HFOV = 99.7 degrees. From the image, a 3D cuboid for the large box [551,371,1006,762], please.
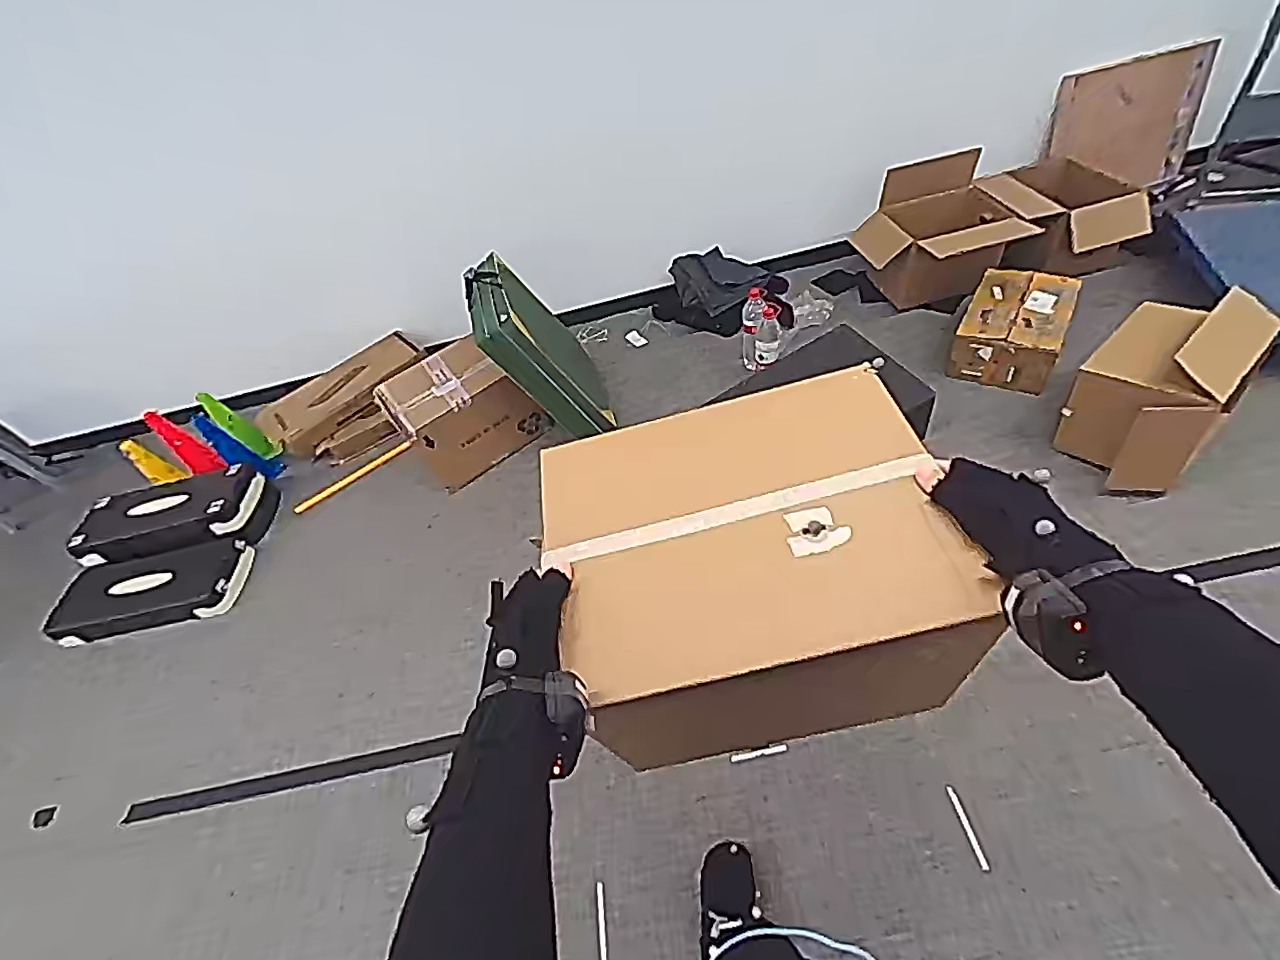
[{"bbox_3d":[0.132,0.122,0.684,0.408,0.320,0.320,-14,52,4],"label":"large box"}]
